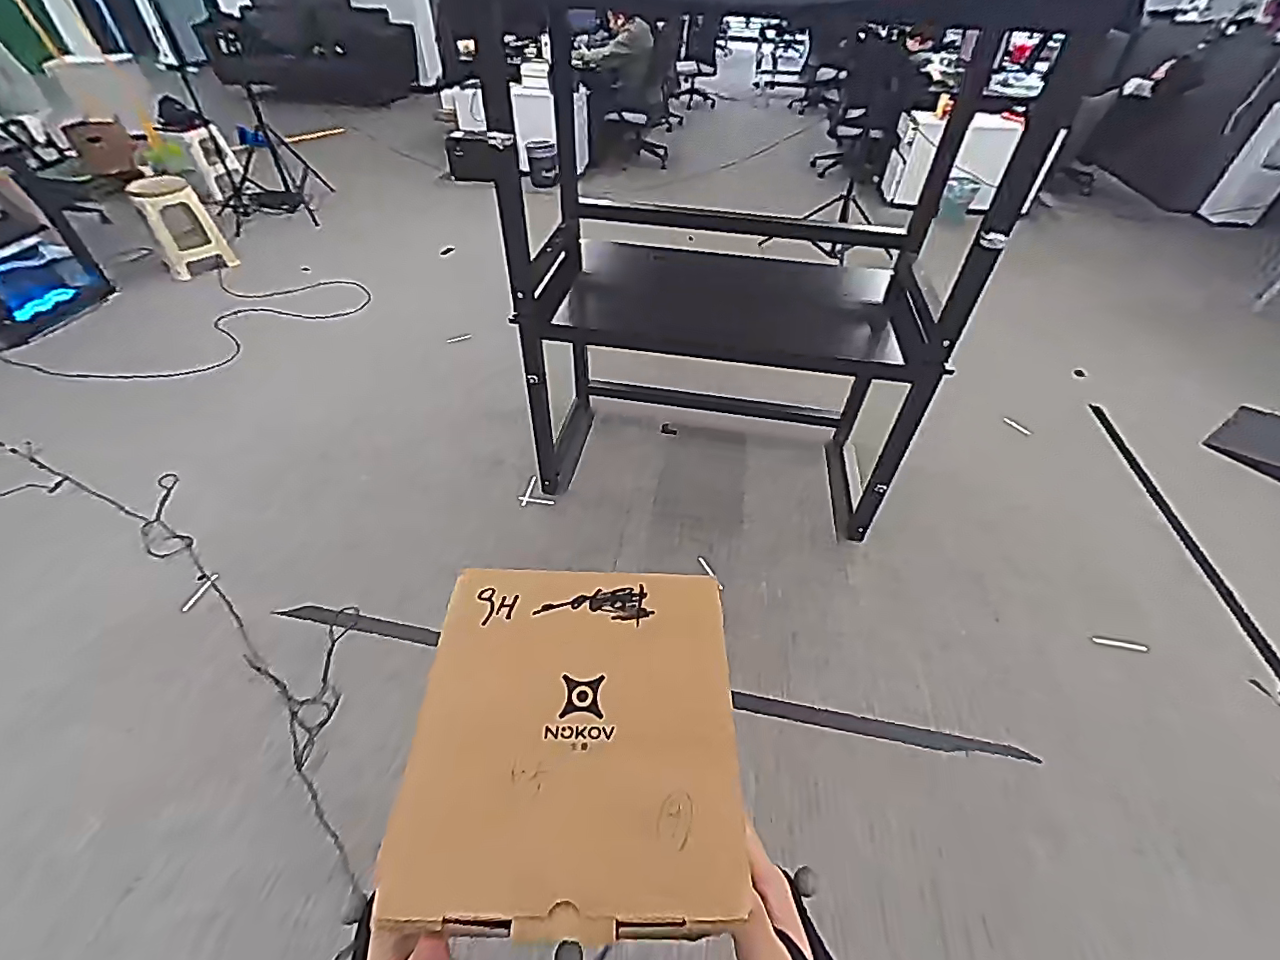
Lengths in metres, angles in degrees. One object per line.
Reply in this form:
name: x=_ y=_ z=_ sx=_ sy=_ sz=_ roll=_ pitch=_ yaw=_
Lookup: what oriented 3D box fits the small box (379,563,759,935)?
small box: x=-0.031 y=0.172 z=0.342 sx=0.168 sy=0.176 sz=0.179 roll=2 pitch=49 yaw=-2
